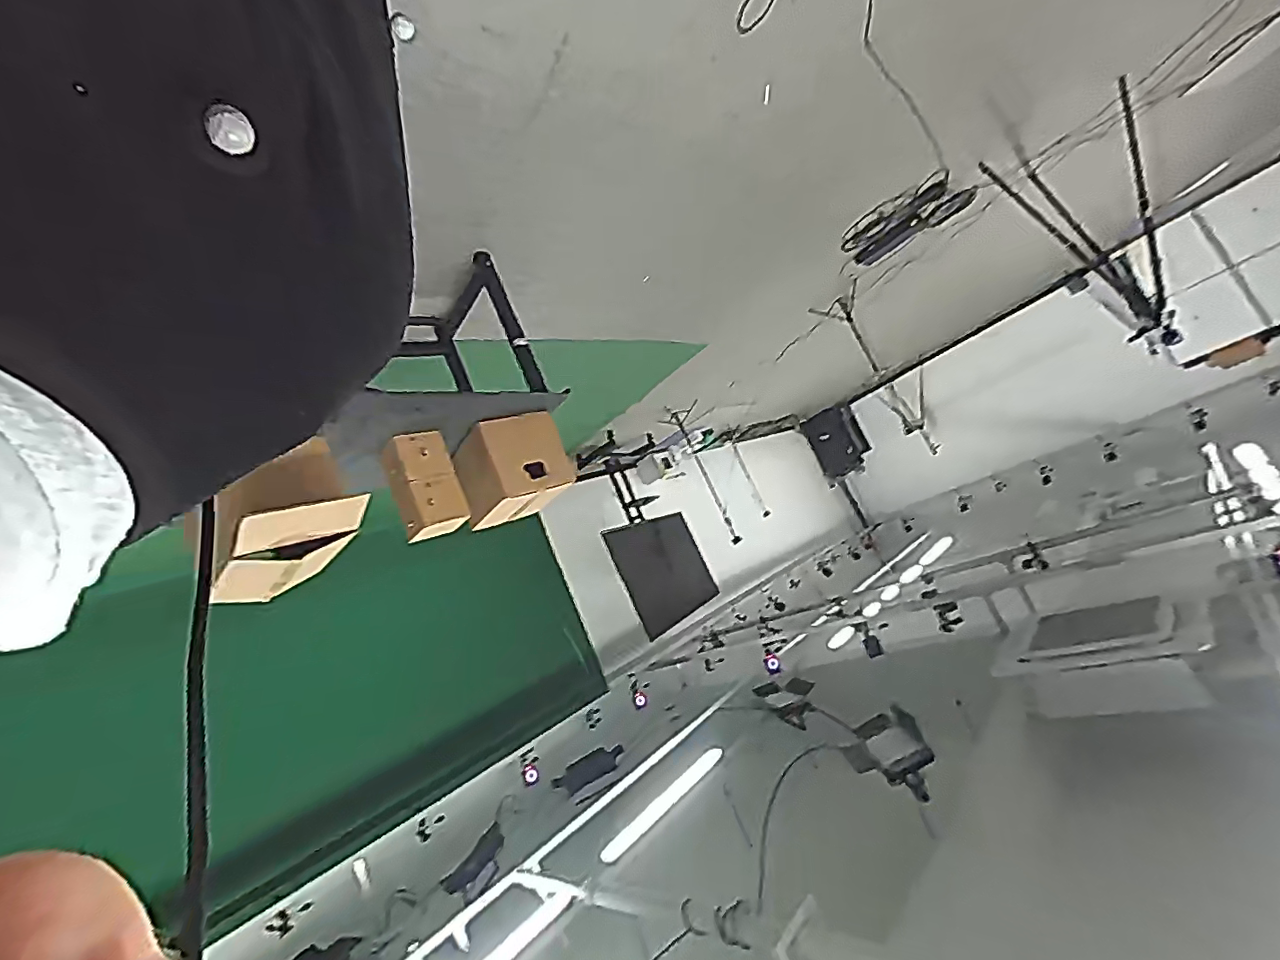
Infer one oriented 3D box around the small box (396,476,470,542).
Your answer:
[{"bbox_3d":[-0.725,0.094,1.881,0.168,0.176,0.179,-15,169,-44],"label":"small box"}]
